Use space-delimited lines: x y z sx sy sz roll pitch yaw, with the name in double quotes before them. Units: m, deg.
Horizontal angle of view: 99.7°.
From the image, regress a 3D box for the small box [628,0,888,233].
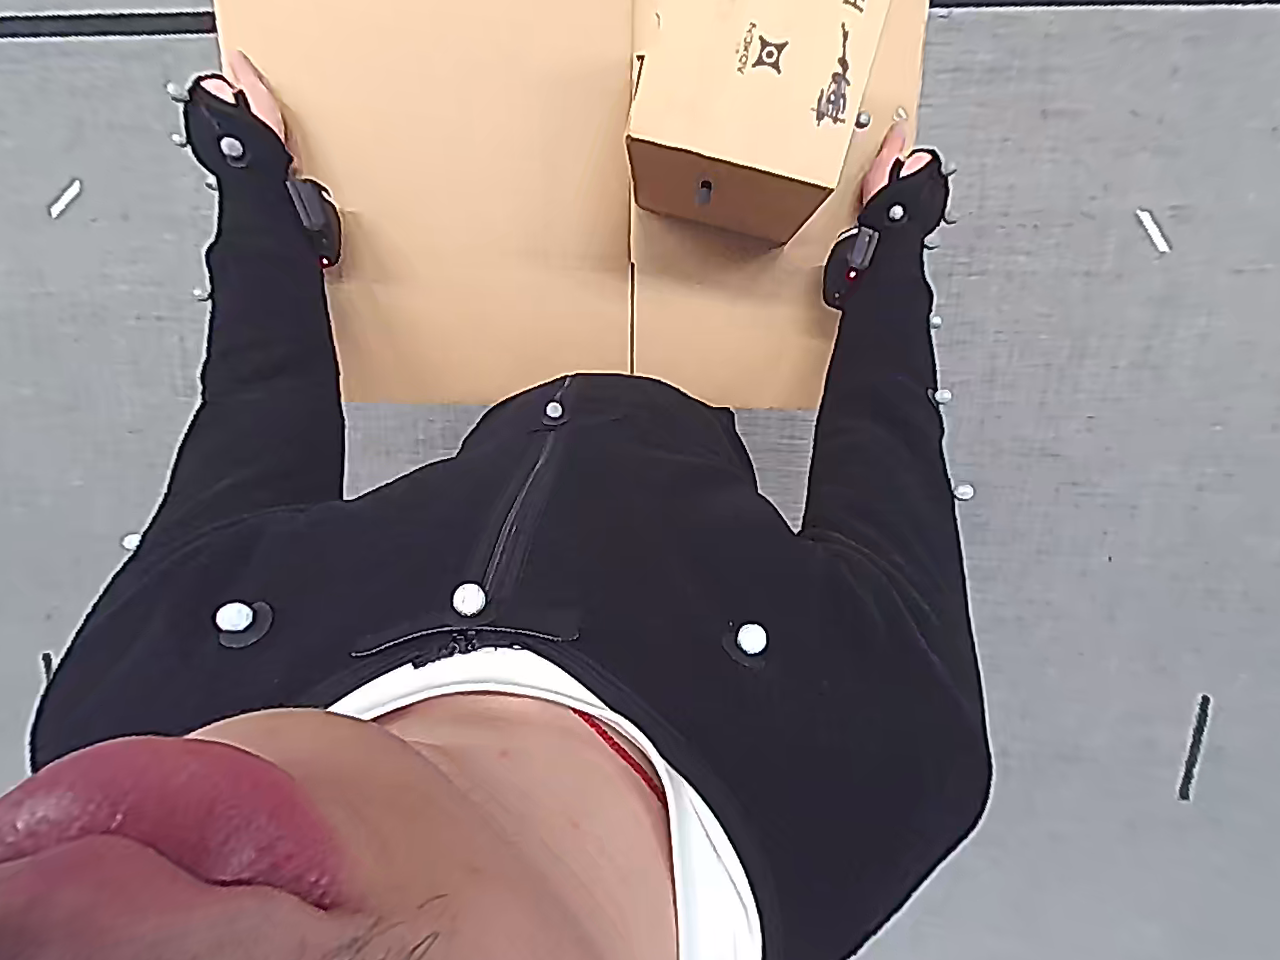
"small box" 0.098 -0.350 0.501 0.179 0.176 0.168 15 100 0
